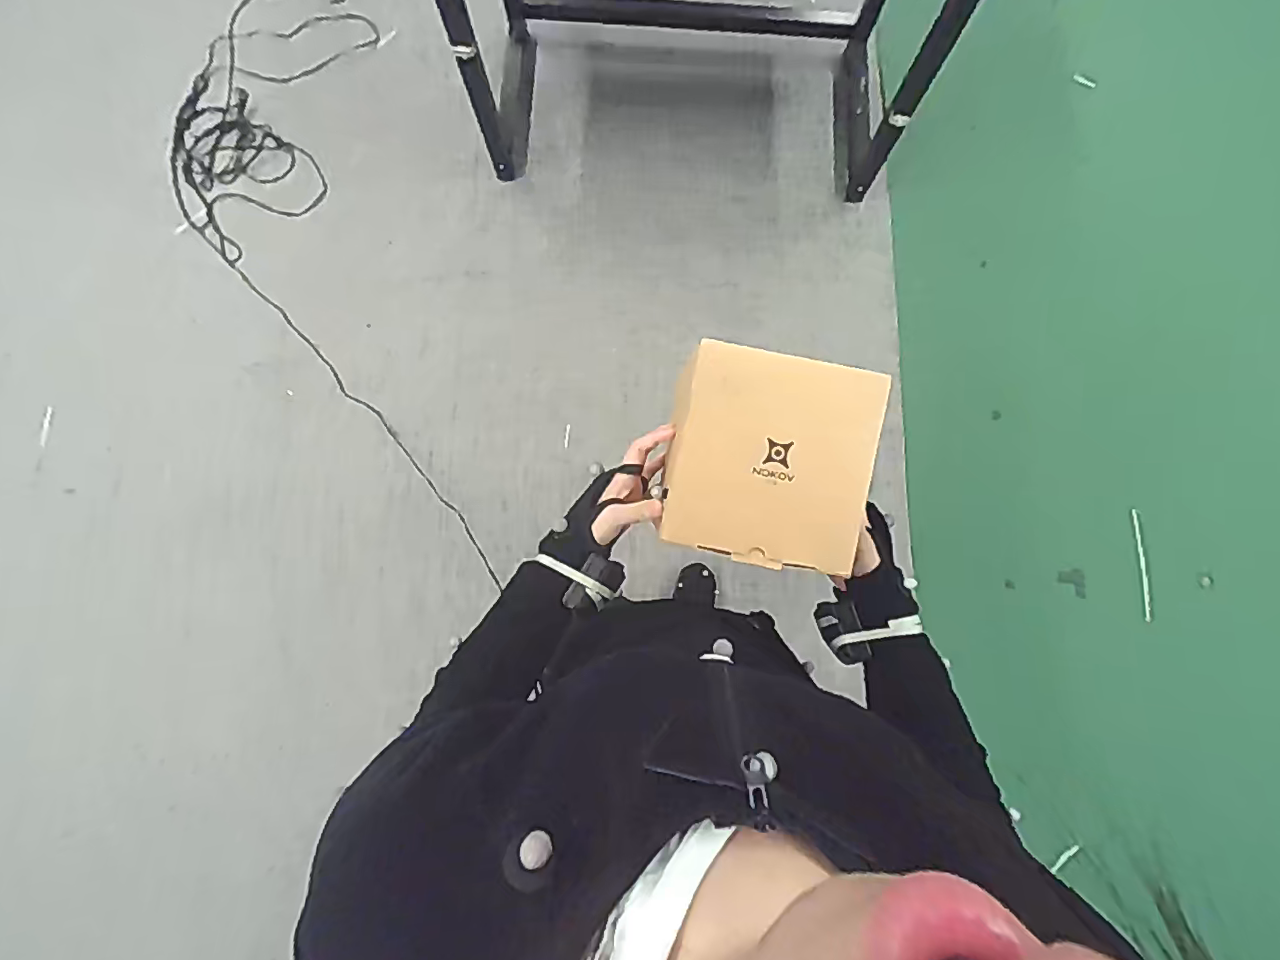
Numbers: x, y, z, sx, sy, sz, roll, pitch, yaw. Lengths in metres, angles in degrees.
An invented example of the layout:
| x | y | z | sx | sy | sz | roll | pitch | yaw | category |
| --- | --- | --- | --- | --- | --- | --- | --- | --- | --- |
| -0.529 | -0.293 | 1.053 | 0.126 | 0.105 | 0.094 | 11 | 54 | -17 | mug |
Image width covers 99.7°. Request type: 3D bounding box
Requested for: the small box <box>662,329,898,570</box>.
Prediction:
| x | y | z | sx | sy | sz | roll | pitch | yaw | category |
| --- | --- | --- | --- | --- | --- | --- | --- | --- | --- |
| 0.117 | -0.026 | 0.525 | 0.168 | 0.176 | 0.179 | 10 | 92 | -1 | small box |
